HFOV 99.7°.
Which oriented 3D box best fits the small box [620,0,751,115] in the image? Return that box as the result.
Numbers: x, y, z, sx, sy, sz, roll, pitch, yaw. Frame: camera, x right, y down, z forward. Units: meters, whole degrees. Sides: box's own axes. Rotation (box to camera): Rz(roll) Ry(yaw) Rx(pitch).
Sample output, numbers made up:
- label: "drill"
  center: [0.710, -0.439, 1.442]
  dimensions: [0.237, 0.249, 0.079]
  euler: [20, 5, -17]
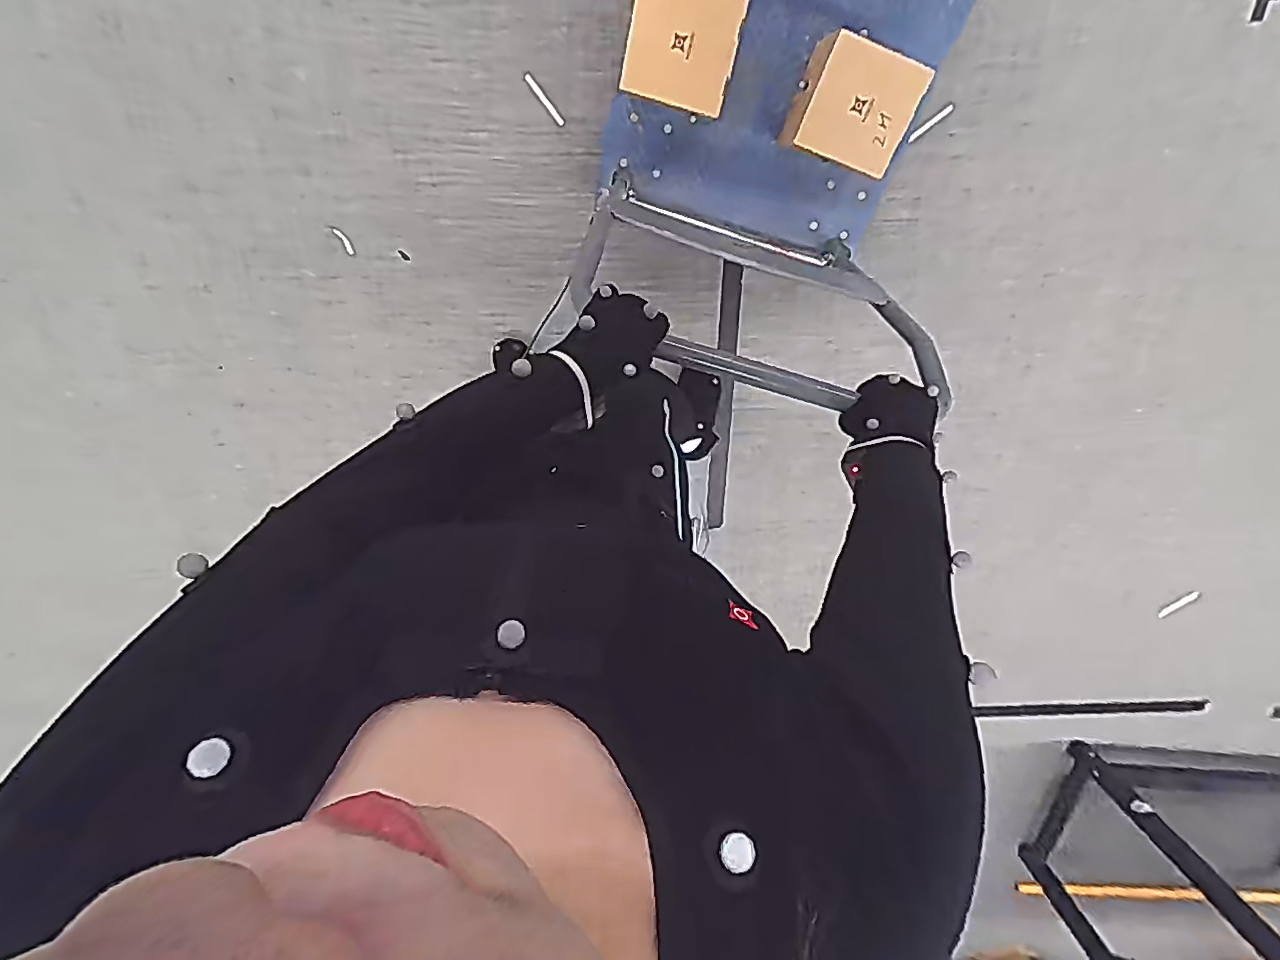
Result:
- label: "small box"
  center: [0.071, -0.744, 0.930]
  dimensions: [0.179, 0.176, 0.168]
  euler: [12, 122, -8]

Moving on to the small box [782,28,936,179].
- label: "small box"
  center: [0.375, -0.663, 0.969]
  dimensions: [0.179, 0.176, 0.168]
  euler: [18, 122, -9]
